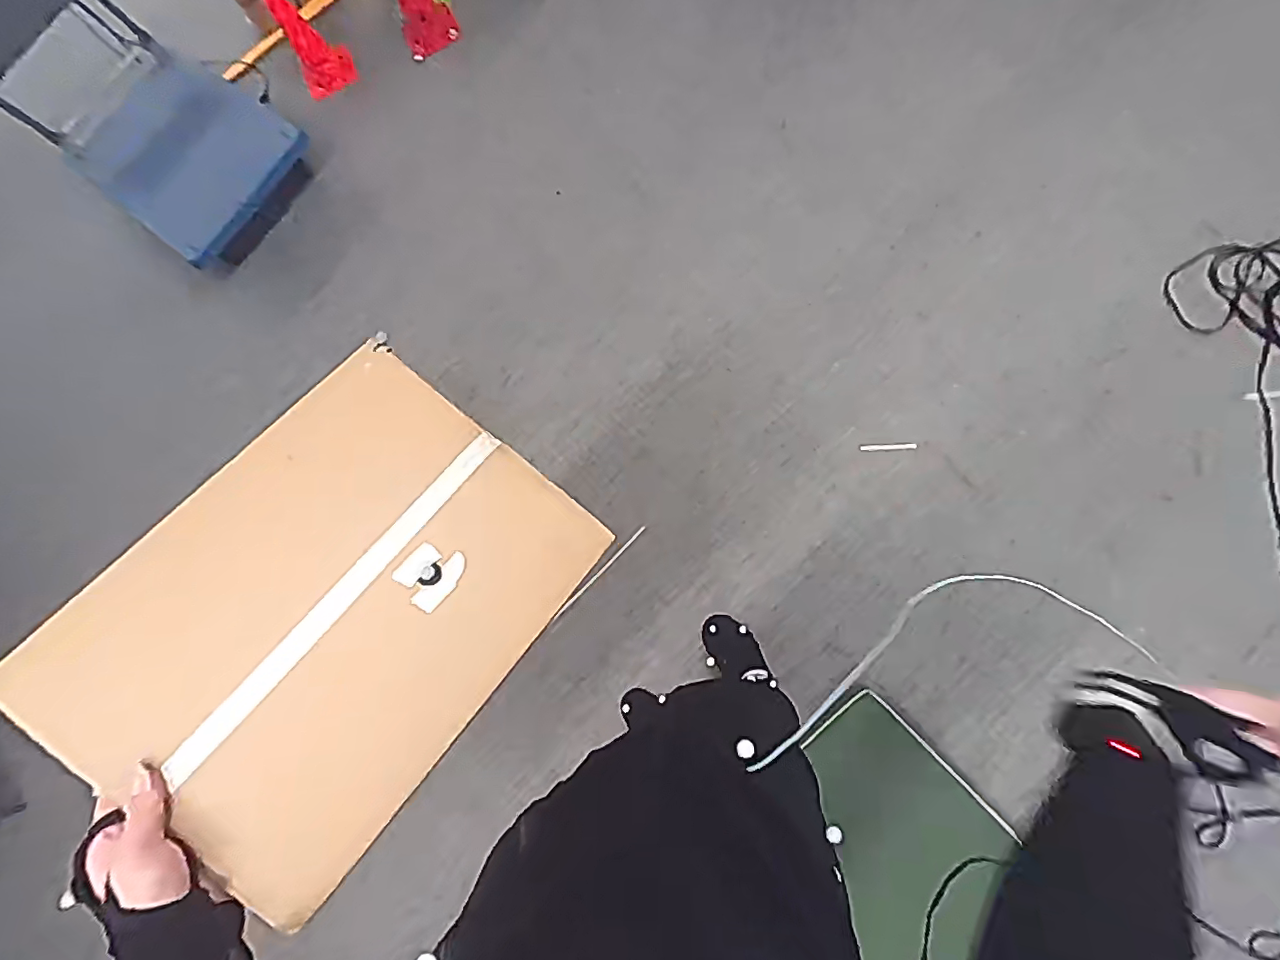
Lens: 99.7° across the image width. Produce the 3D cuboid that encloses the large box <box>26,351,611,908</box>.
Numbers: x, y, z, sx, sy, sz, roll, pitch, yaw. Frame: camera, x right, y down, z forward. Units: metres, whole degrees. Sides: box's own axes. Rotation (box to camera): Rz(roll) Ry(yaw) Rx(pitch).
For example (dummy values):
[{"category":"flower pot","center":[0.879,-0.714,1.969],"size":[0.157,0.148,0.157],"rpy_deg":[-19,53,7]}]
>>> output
[{"category":"large box","center":[-0.293,0.144,0.635],"size":[0.320,0.320,0.408],"rpy_deg":[40,70,-1]}]
